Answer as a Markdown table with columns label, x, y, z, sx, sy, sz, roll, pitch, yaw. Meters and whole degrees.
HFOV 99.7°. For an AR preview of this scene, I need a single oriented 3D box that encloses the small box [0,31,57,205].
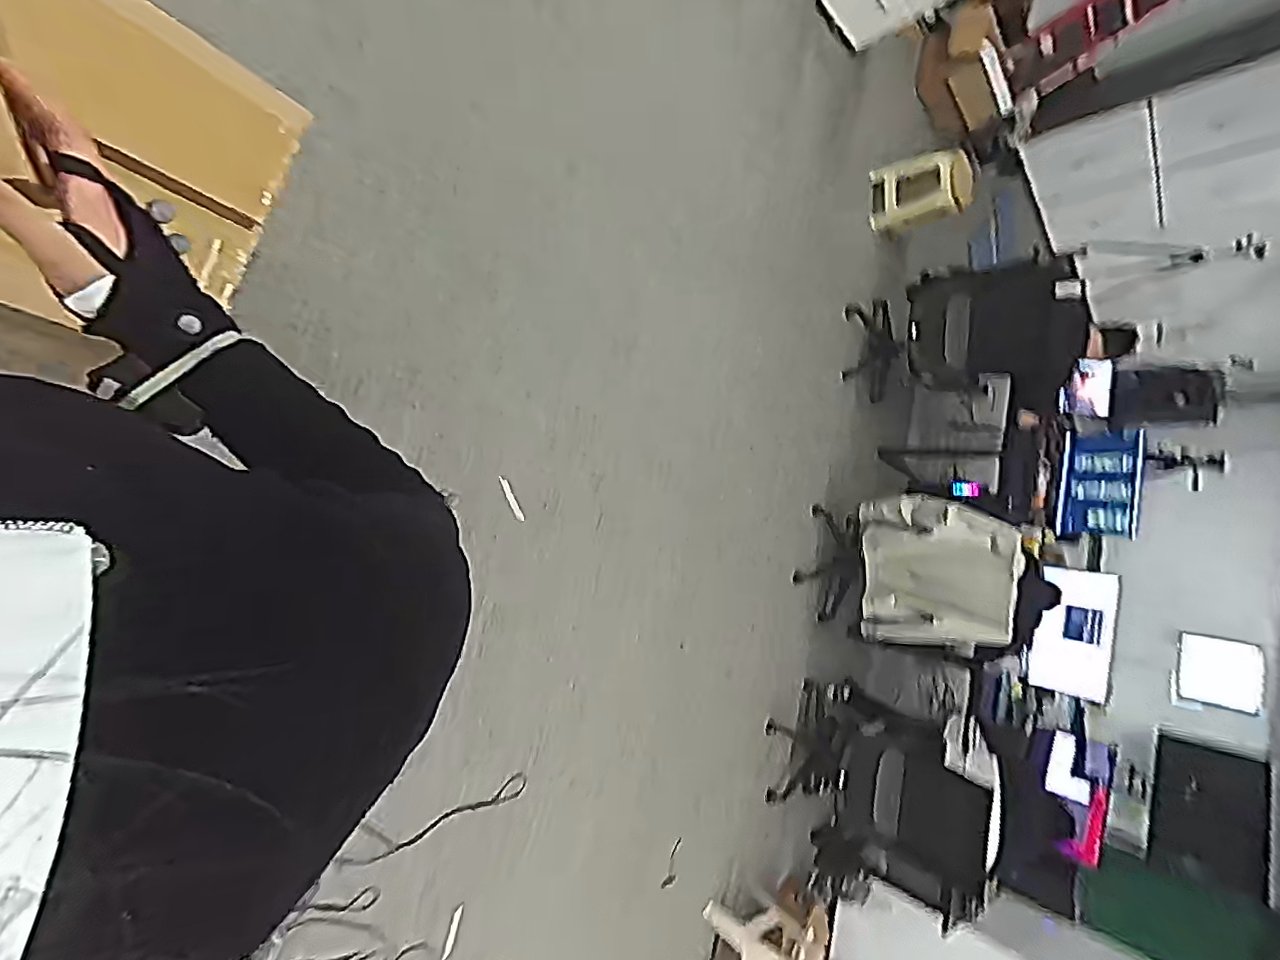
| label | x | y | z | sx | sy | sz | roll | pitch | yaw |
| --- | --- | --- | --- | --- | --- | --- | --- | --- | --- |
| small box | -0.467 | -0.255 | 0.289 | 0.168 | 0.176 | 0.179 | -20 | 119 | -36 |
